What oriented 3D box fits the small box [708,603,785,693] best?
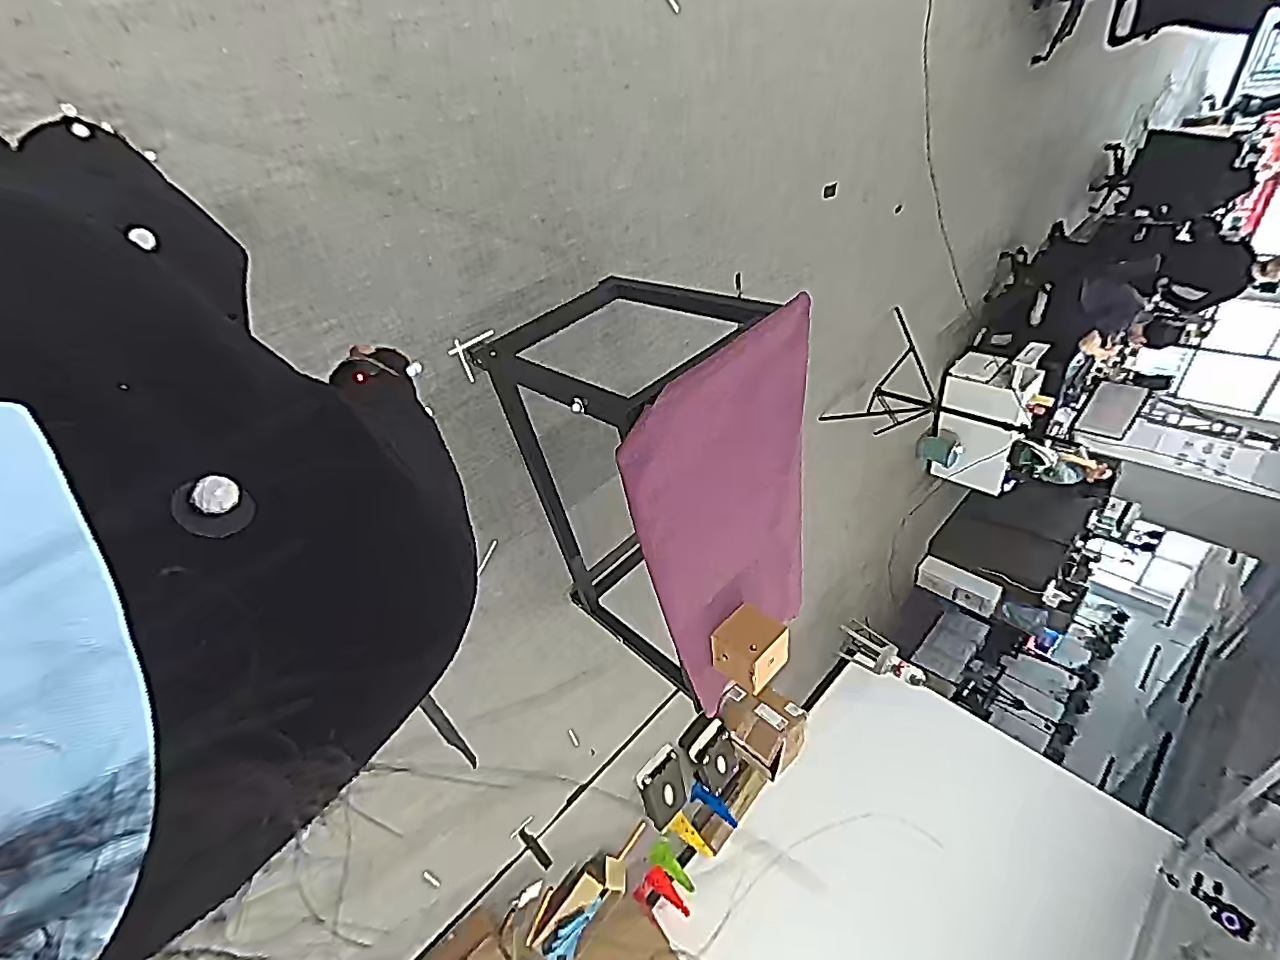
[{"bbox_3d":[0.336,0.523,1.712,0.179,0.176,0.168,-33,132,-31],"label":"small box"}]
